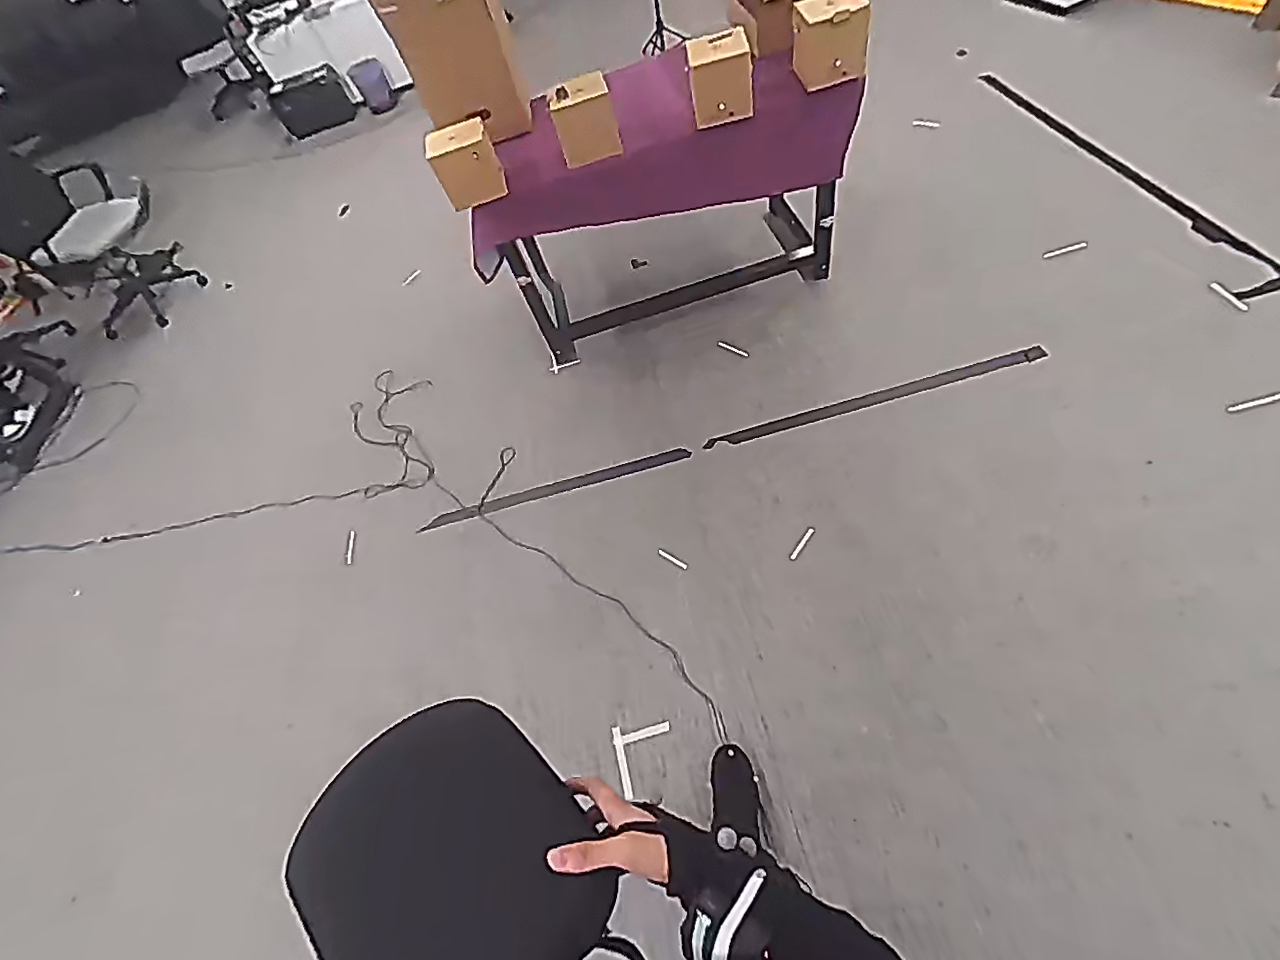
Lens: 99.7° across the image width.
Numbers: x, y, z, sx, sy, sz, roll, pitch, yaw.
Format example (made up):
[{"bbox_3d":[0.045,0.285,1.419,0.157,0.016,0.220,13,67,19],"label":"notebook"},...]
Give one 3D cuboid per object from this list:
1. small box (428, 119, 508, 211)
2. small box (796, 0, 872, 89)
[{"bbox_3d":[-0.521,-0.954,1.647,0.179,0.176,0.168,-18,55,2],"label":"small box"},{"bbox_3d":[0.549,-1.269,1.556,0.168,0.176,0.179,-13,55,8],"label":"small box"}]
